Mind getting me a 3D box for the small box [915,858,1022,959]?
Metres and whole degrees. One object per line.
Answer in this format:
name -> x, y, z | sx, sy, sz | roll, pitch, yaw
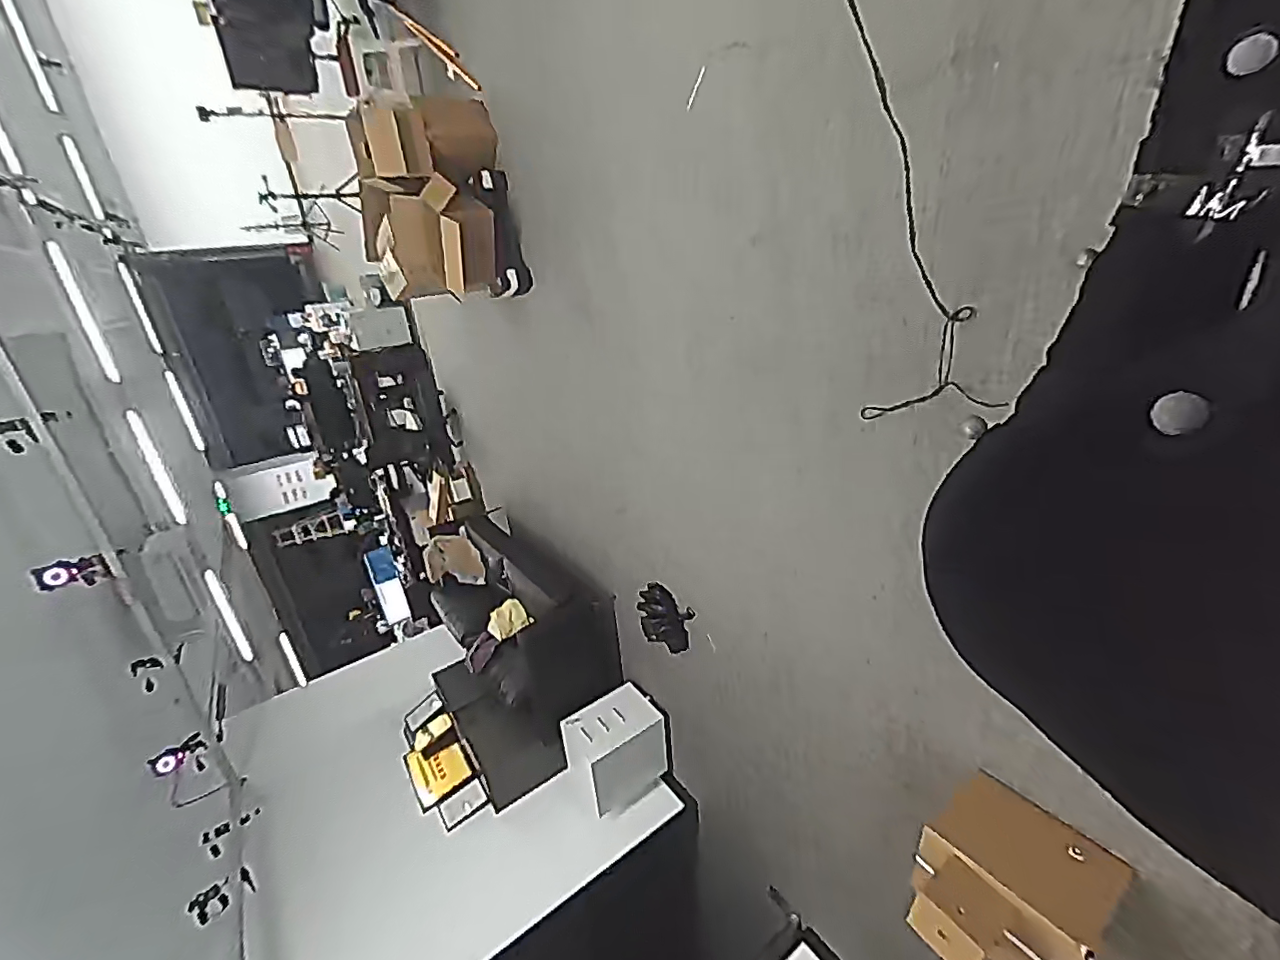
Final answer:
small box -> 0.886, 1.182, 1.458 | 0.179, 0.176, 0.168 | 33, 132, 48
